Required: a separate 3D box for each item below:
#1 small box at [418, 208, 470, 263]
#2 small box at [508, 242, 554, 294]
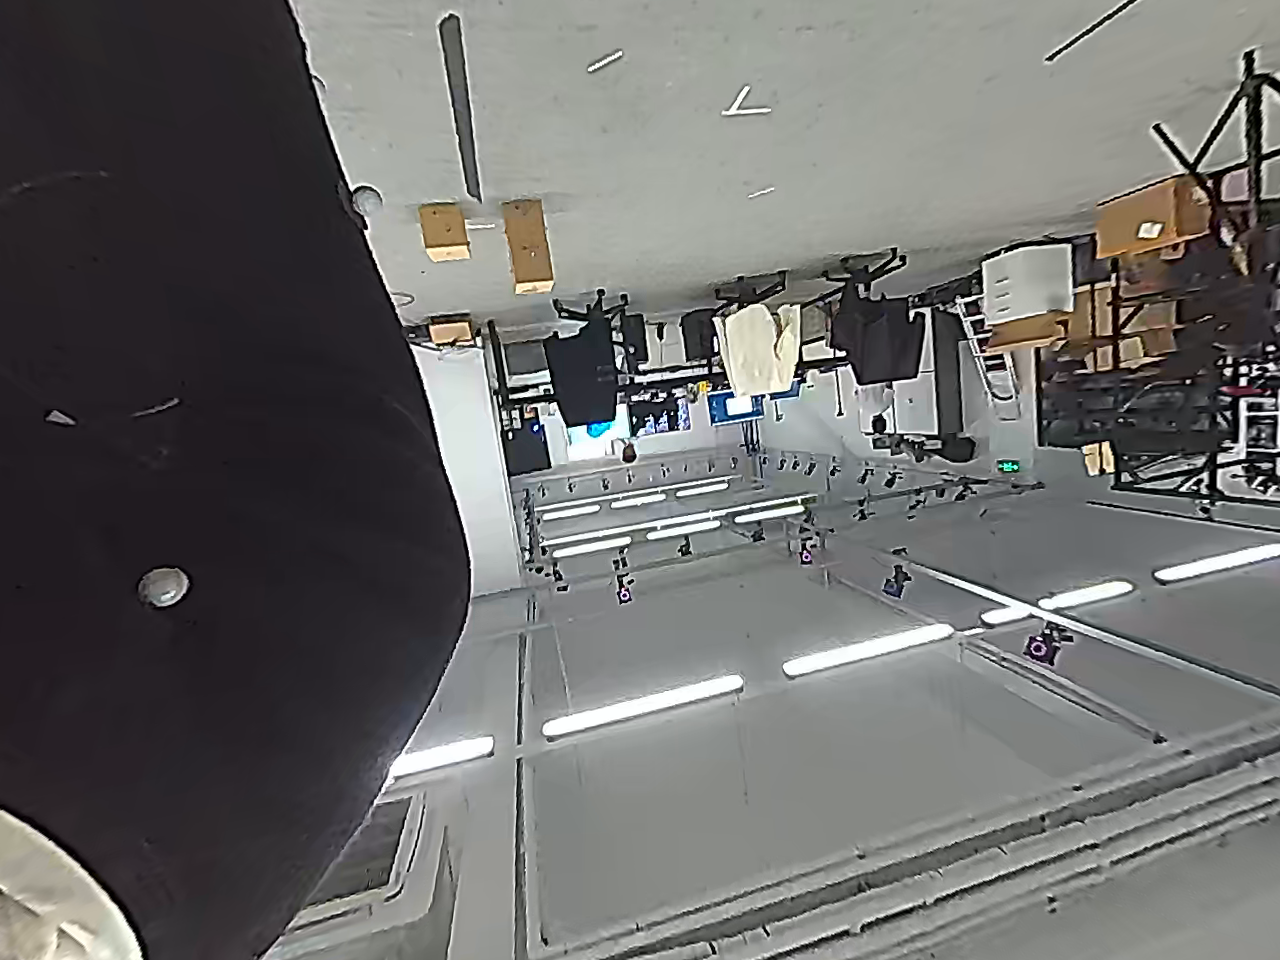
[{"bbox_3d":[-0.824,-1.034,2.278,0.168,0.176,0.179,-10,-172,-9],"label":"small box"},{"bbox_3d":[-0.481,-0.929,2.372,0.168,0.176,0.179,-11,-173,-13],"label":"small box"}]
